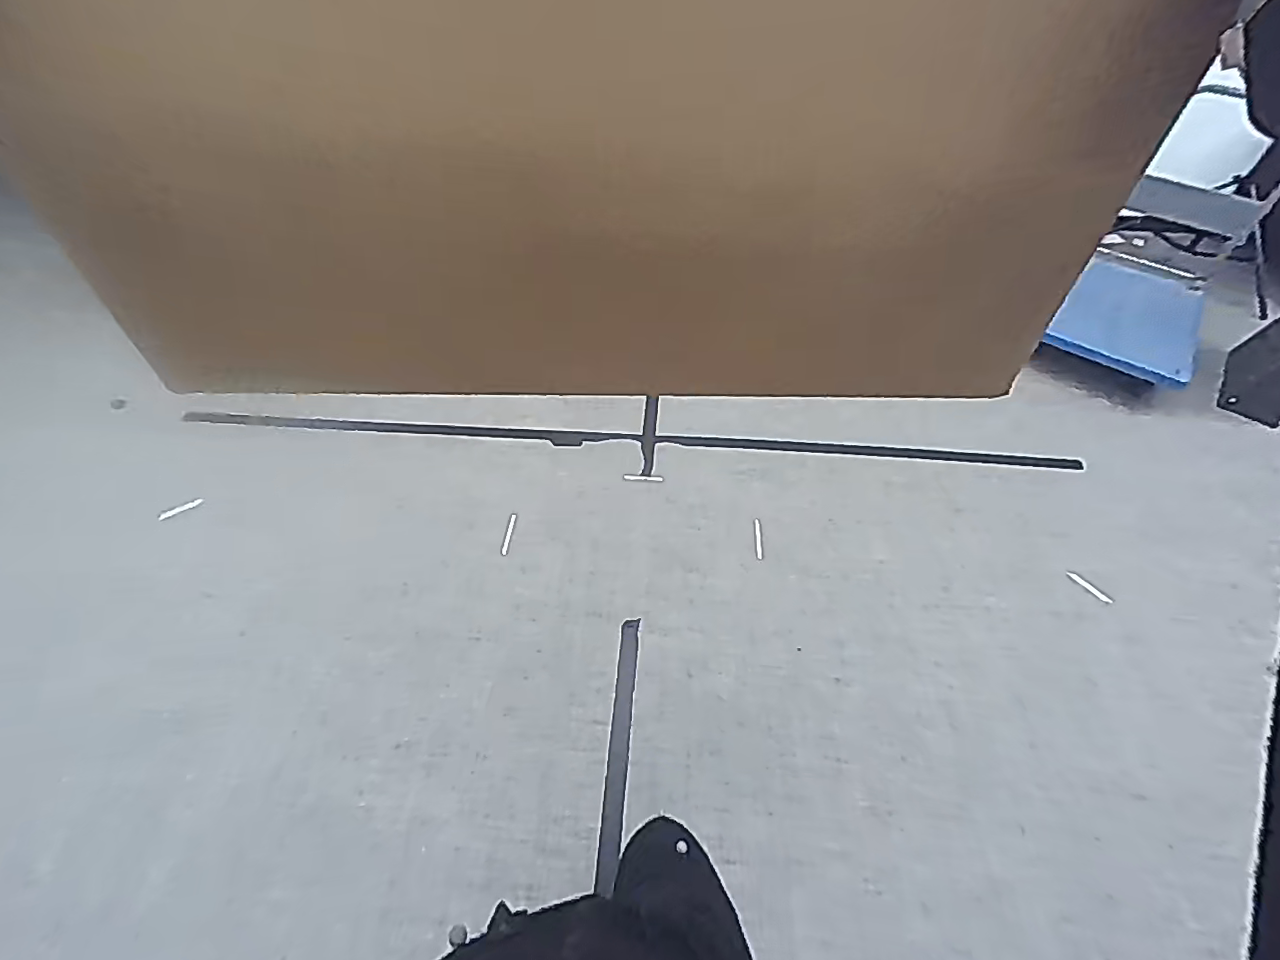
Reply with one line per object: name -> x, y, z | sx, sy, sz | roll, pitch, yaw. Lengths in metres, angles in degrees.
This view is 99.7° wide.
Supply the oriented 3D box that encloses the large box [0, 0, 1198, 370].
large box -> -0.018, -0.266, 0.267 | 0.408, 0.320, 0.320 | 1, 46, -2
